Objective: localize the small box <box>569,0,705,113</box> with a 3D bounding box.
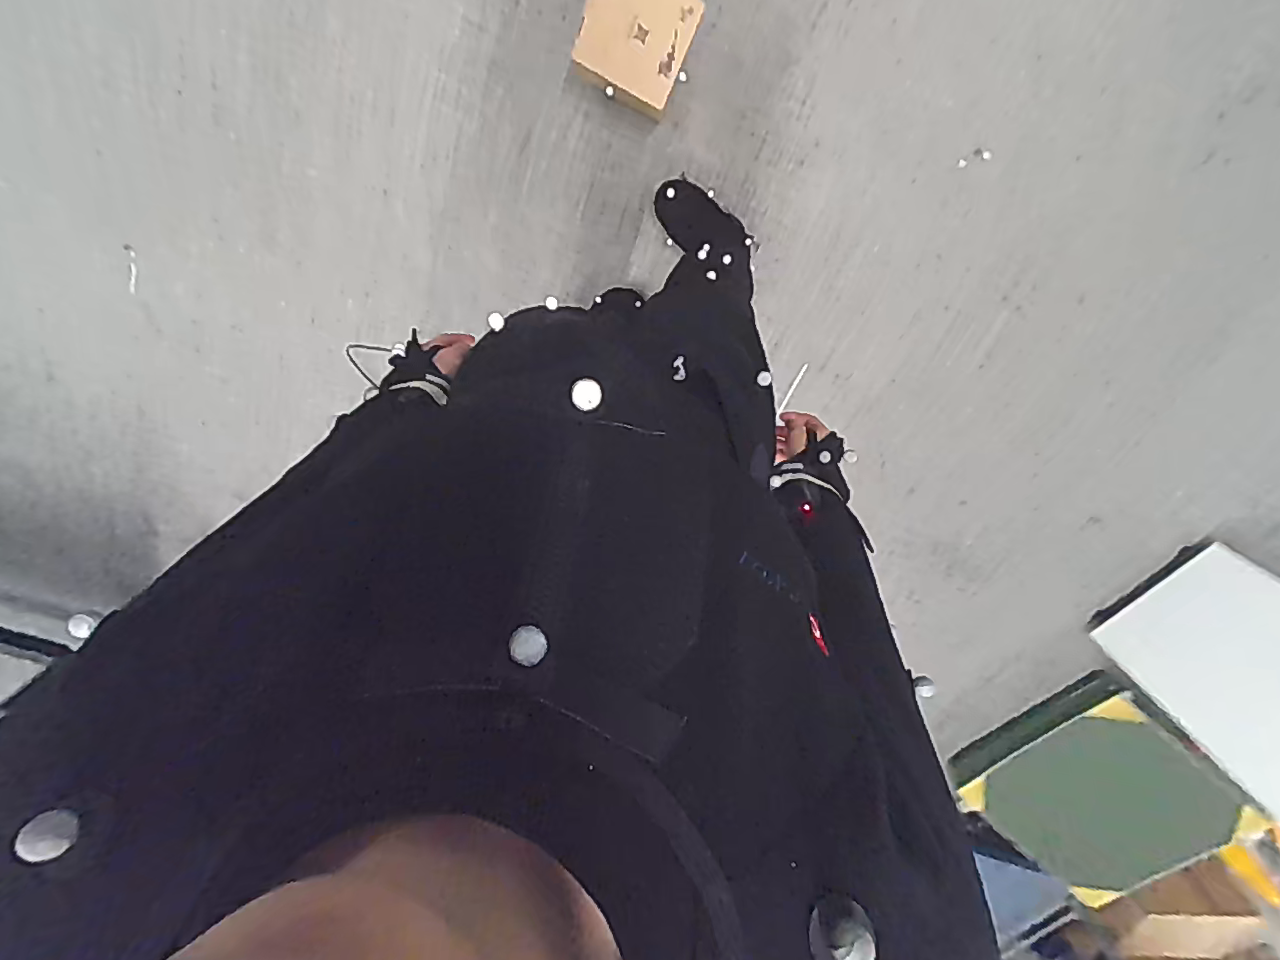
[{"bbox_3d":[-0.004,-0.780,0.953,0.179,0.176,0.168,24,116,-10],"label":"small box"}]
